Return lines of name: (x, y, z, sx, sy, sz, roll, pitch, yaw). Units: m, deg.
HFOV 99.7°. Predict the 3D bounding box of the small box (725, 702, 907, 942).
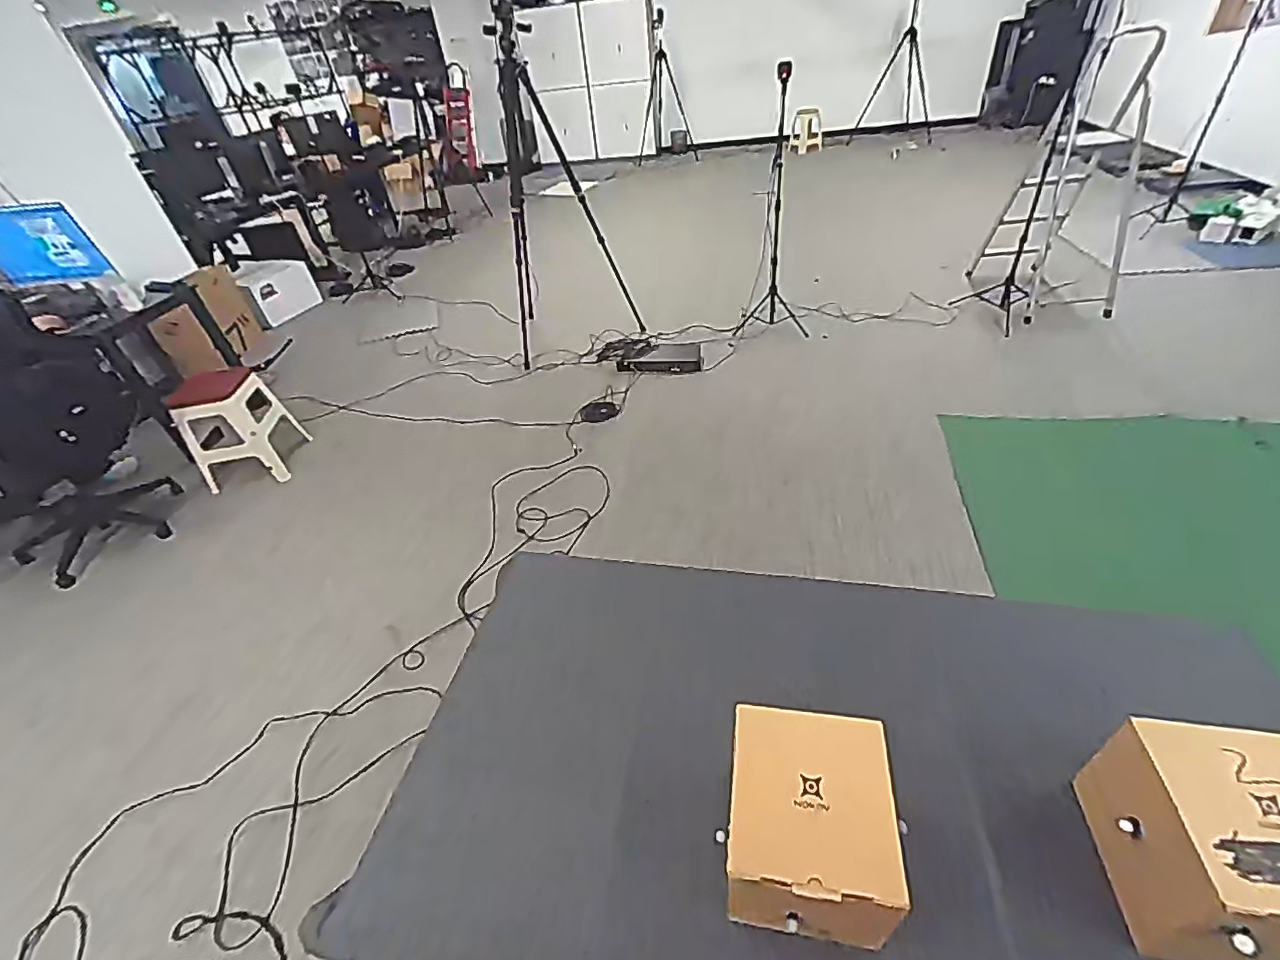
small box: (0.186, 0.386, 0.619, 0.168, 0.176, 0.179, 3, 41, 11)
